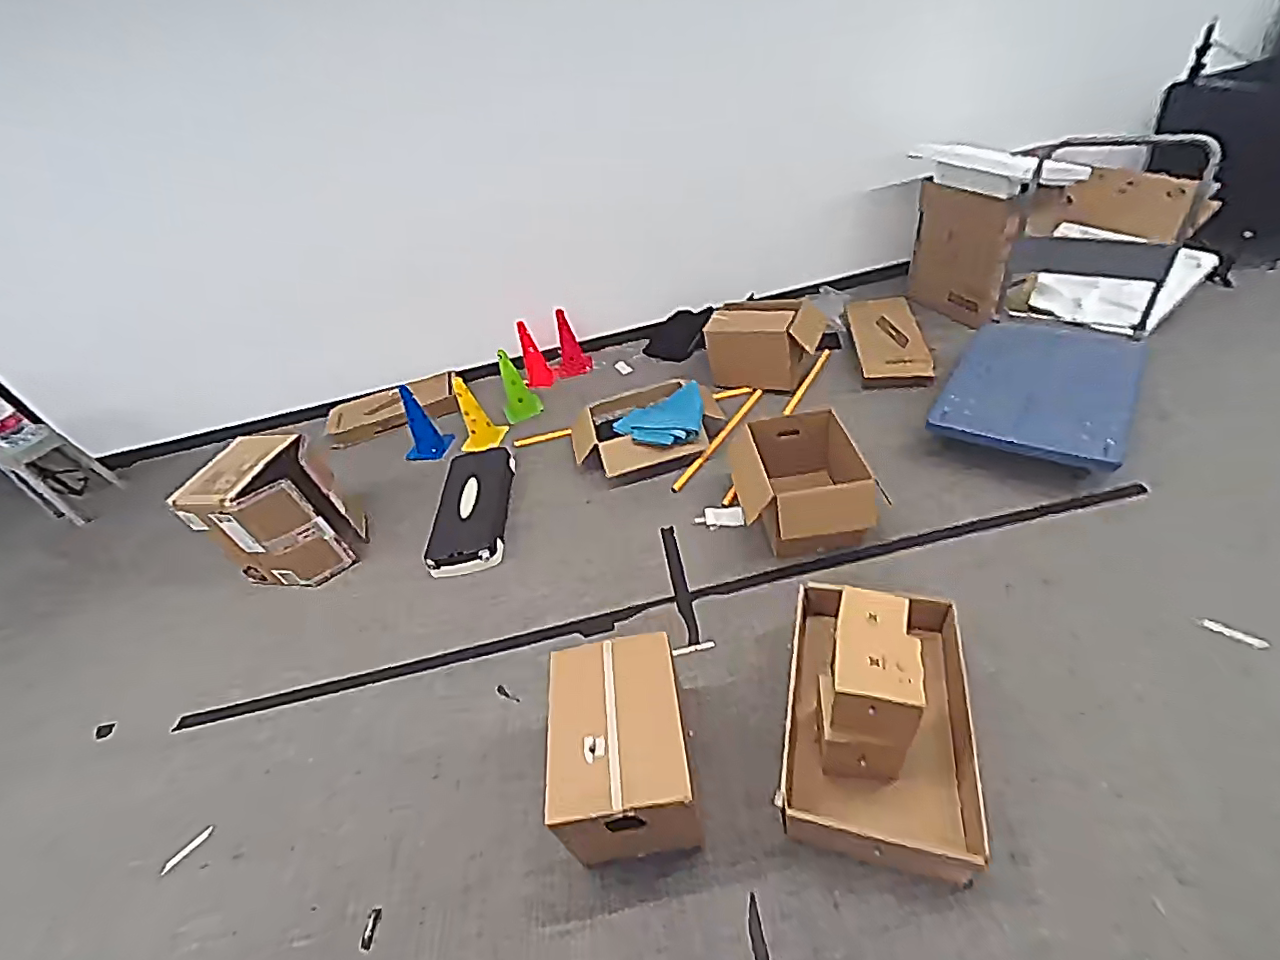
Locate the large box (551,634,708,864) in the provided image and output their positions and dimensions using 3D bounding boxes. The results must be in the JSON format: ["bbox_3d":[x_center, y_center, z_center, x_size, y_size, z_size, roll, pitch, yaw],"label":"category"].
[{"bbox_3d":[-0.030,0.660,1.344,0.320,0.320,0.408,-12,42,3],"label":"large box"}]

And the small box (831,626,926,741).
[{"bbox_3d":[0.524,0.454,1.205,0.179,0.176,0.168,5,42,19],"label":"small box"}]
